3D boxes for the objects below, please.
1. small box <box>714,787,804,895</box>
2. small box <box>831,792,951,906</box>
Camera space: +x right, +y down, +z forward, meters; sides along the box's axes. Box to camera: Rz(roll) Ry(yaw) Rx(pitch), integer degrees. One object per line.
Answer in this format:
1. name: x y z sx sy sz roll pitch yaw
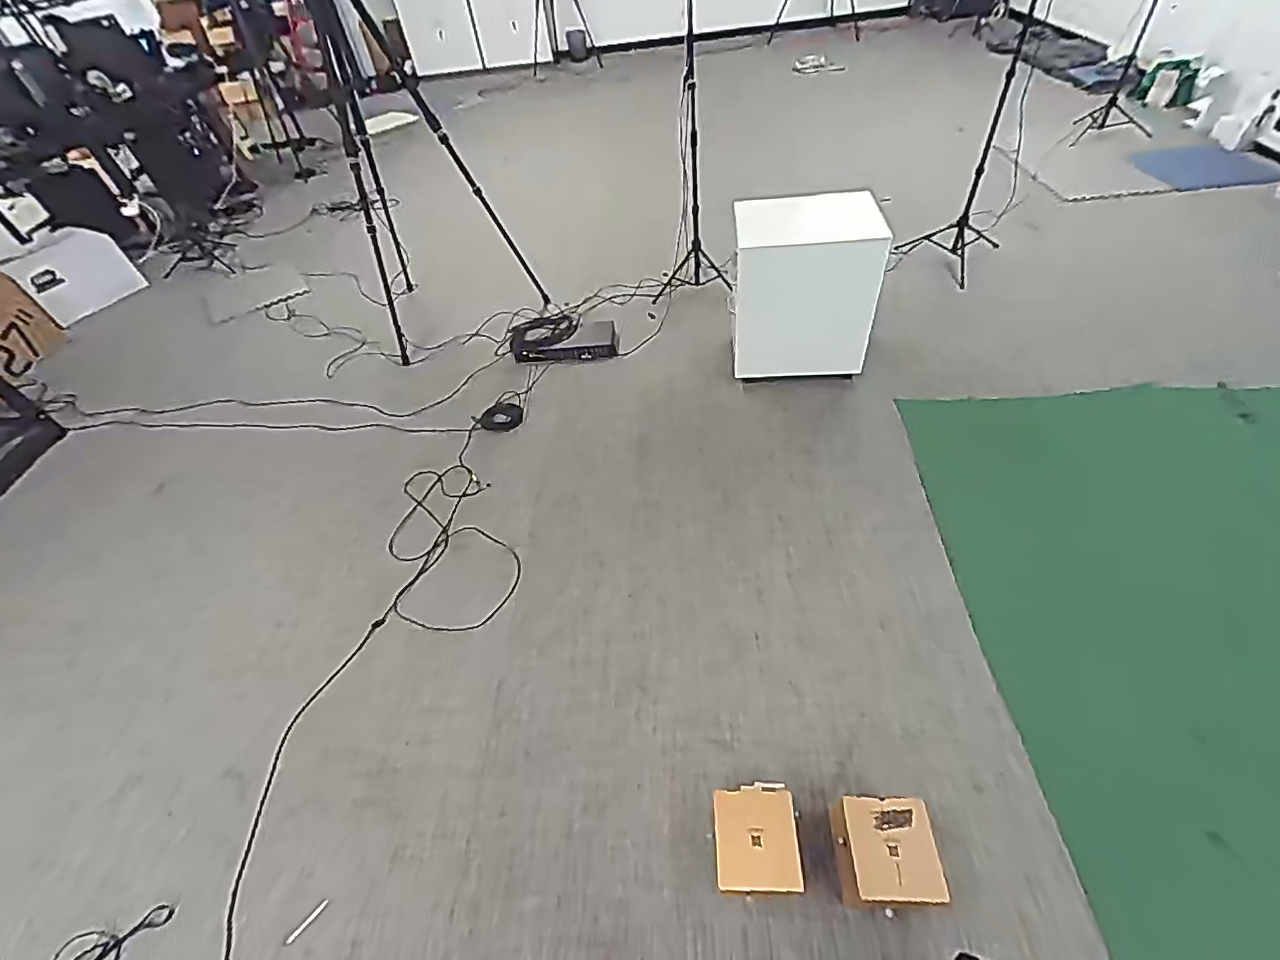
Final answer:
1. small box: 0.246 0.773 1.155 0.168 0.176 0.179 -3 48 5
2. small box: 0.508 0.768 1.125 0.168 0.176 0.179 -2 49 5
